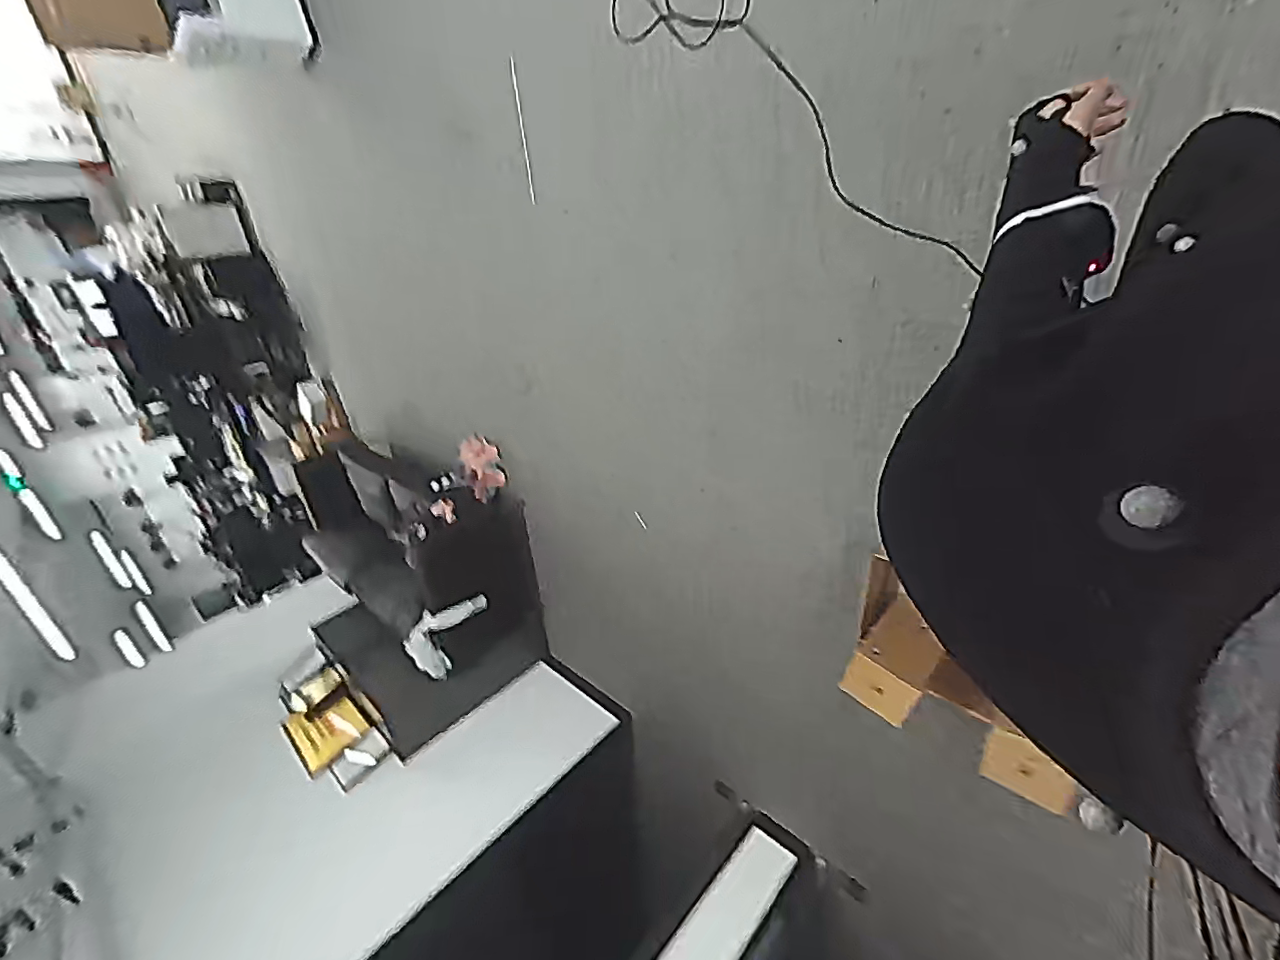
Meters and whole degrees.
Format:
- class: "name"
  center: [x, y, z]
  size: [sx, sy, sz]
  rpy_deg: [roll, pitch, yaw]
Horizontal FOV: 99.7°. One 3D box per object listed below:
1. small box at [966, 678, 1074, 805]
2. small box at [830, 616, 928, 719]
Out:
- class: "small box"
  center: [0.913, 0.620, 1.299]
  size: [0.168, 0.176, 0.179]
  rpy_deg: [19, 124, 39]
- class: "small box"
  center: [0.669, 0.514, 1.507]
  size: [0.179, 0.176, 0.168]
  rpy_deg: [33, 132, 31]
